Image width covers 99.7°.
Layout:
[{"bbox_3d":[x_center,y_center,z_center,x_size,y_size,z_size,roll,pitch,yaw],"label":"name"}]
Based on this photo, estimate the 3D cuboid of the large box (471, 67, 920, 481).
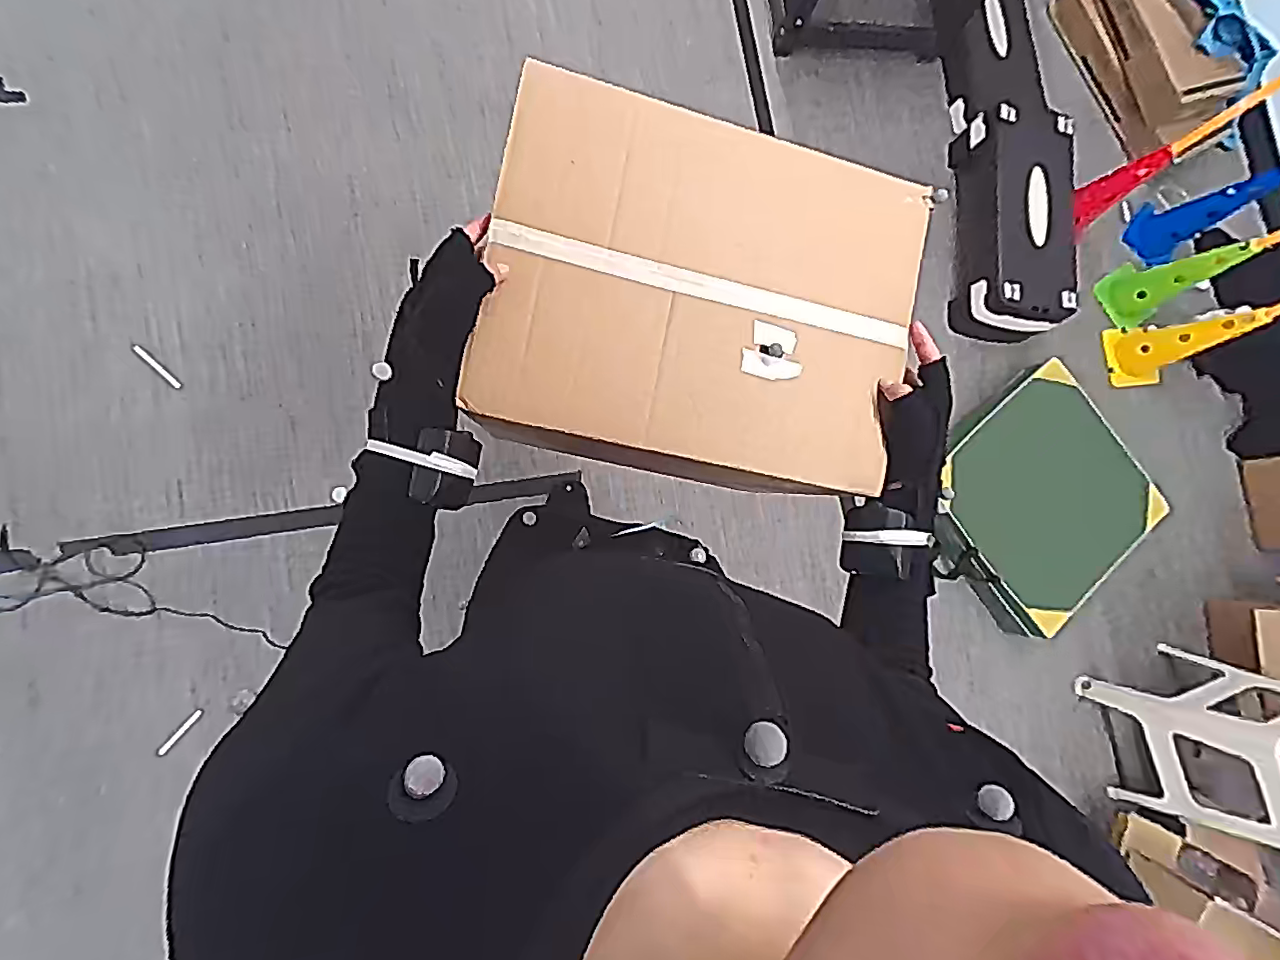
[{"bbox_3d":[0.040,-0.185,0.657,0.408,0.320,0.320,12,89,-10],"label":"large box"}]
